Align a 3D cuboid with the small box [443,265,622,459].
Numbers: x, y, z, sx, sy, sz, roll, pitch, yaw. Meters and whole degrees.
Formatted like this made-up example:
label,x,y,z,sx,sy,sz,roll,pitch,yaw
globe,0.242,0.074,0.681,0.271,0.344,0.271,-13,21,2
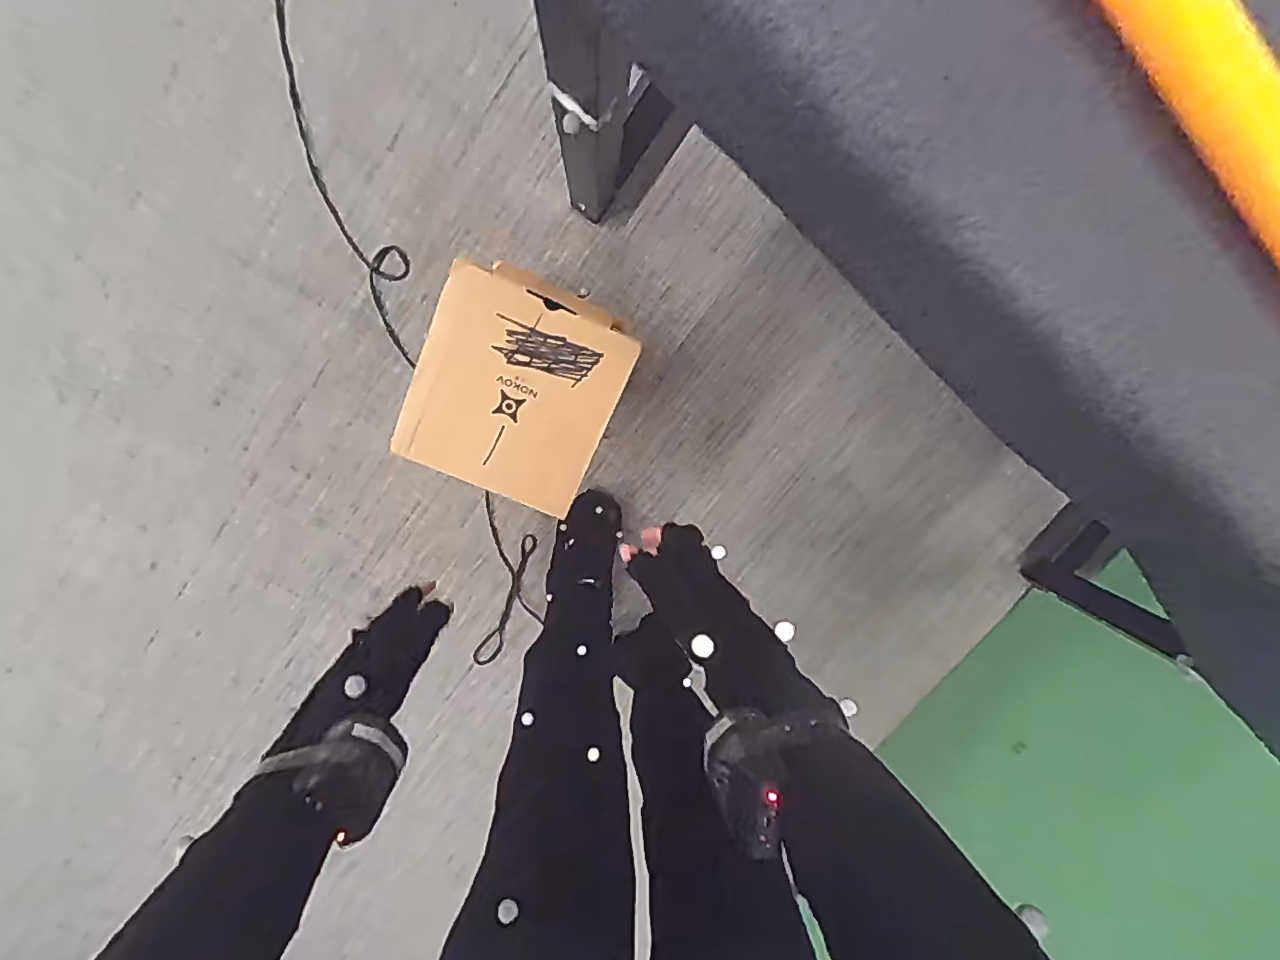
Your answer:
label,x,y,z,sx,sy,sz,roll,pitch,yaw
small box,-0.128,-0.150,0.696,0.168,0.176,0.179,20,102,-8
